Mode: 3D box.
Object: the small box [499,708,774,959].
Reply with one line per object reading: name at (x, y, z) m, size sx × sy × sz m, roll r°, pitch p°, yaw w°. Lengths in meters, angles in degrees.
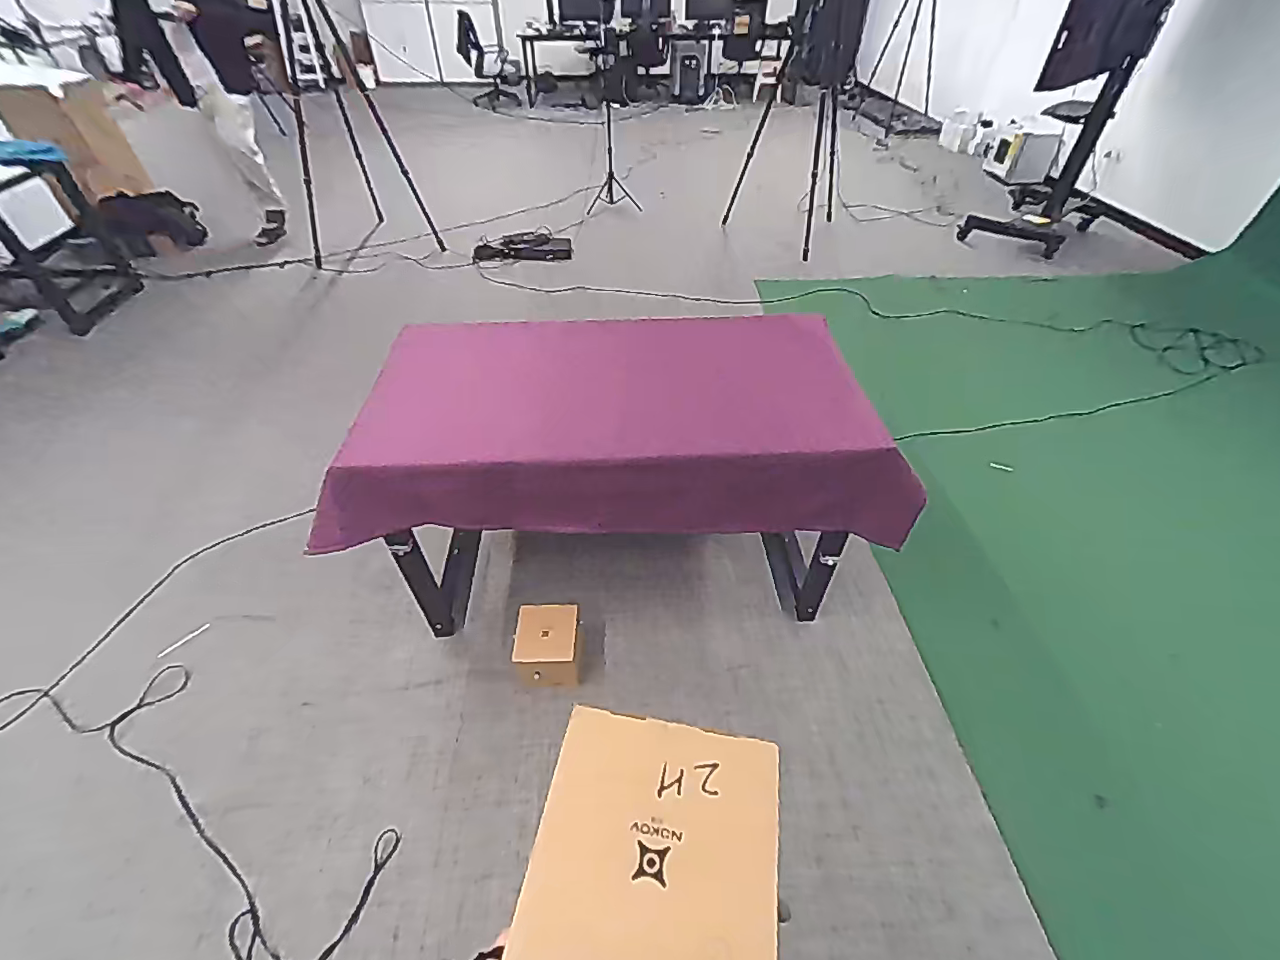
small box at (0.009, 0.318, 0.435) m, size 0.168 × 0.176 × 0.179 m, roll 9°, pitch 45°, yaw 9°
